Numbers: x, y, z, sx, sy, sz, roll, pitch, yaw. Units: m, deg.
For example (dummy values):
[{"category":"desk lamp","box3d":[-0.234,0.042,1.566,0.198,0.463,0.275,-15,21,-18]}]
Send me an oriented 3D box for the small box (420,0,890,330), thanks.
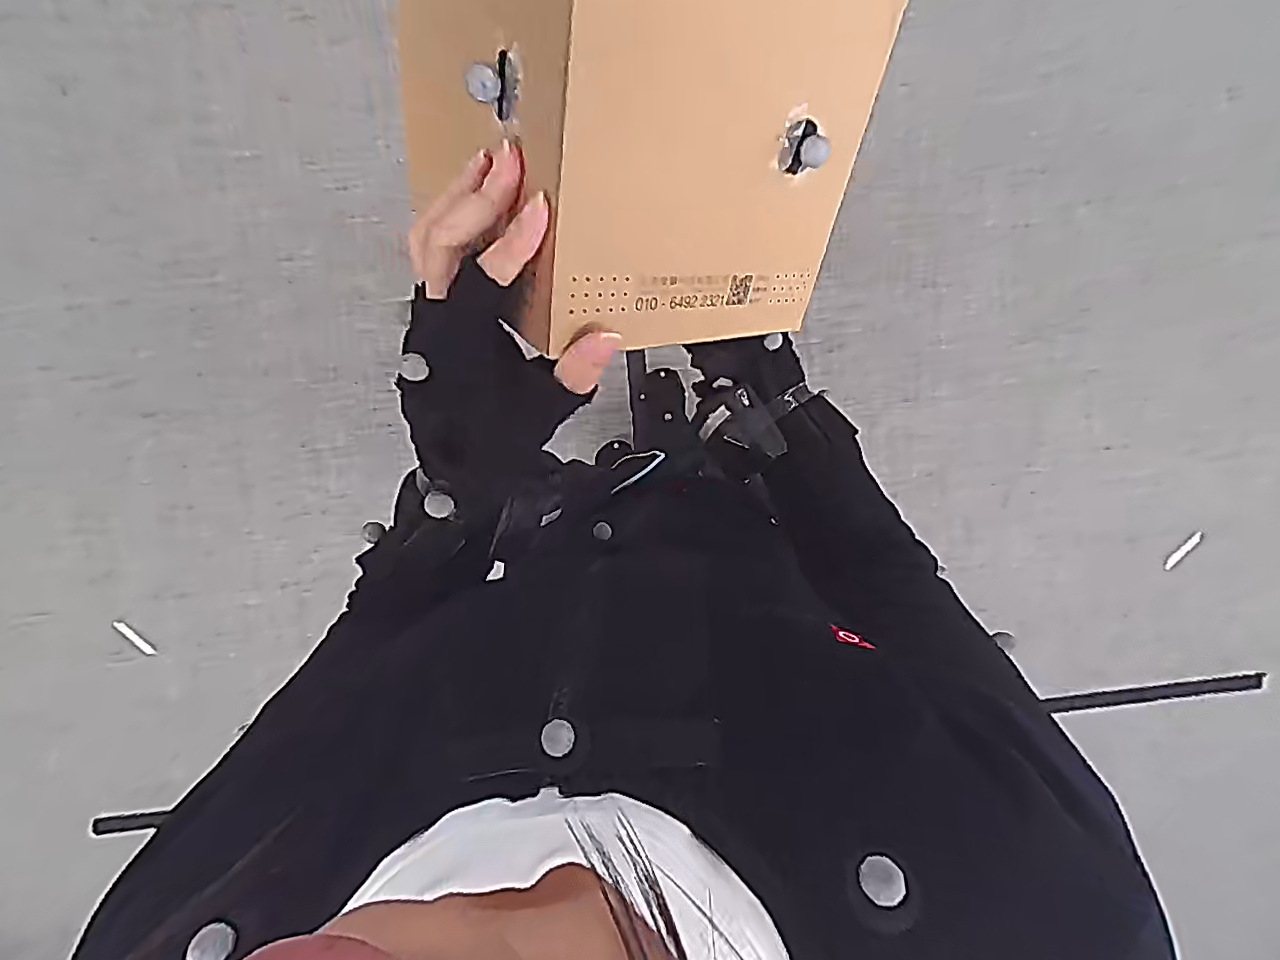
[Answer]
[{"category":"small box","box3d":[-0.007,-0.188,0.295,0.168,0.179,0.176,-15,132,-34]}]
